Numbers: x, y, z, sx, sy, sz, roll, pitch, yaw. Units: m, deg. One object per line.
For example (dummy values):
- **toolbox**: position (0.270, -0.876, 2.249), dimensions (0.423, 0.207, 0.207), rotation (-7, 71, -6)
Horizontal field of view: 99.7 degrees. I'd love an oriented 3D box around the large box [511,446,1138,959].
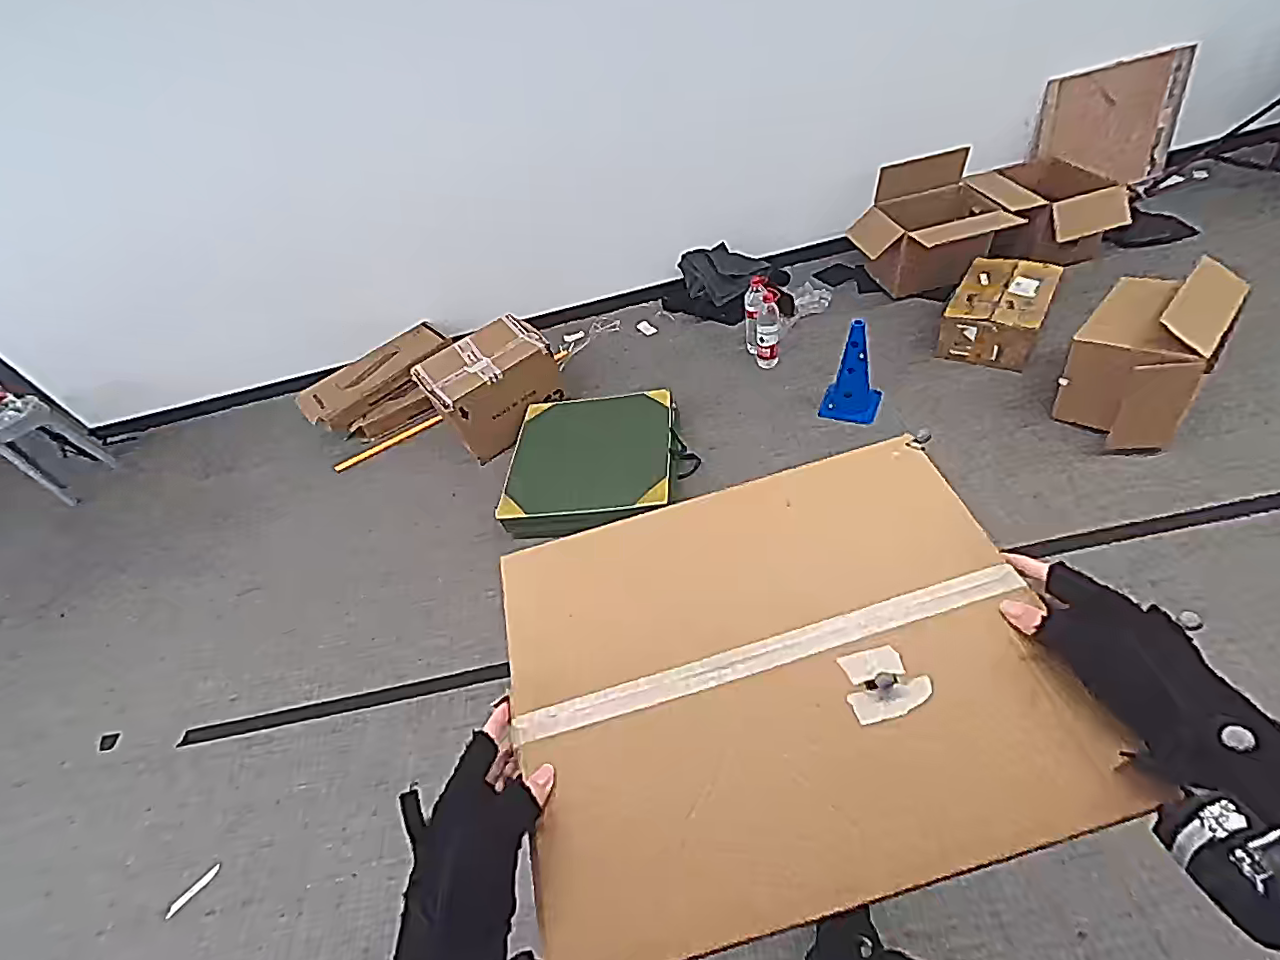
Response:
- **large box**: position (0.124, 0.227, 0.554), dimensions (0.408, 0.320, 0.320), rotation (-17, 54, -1)
